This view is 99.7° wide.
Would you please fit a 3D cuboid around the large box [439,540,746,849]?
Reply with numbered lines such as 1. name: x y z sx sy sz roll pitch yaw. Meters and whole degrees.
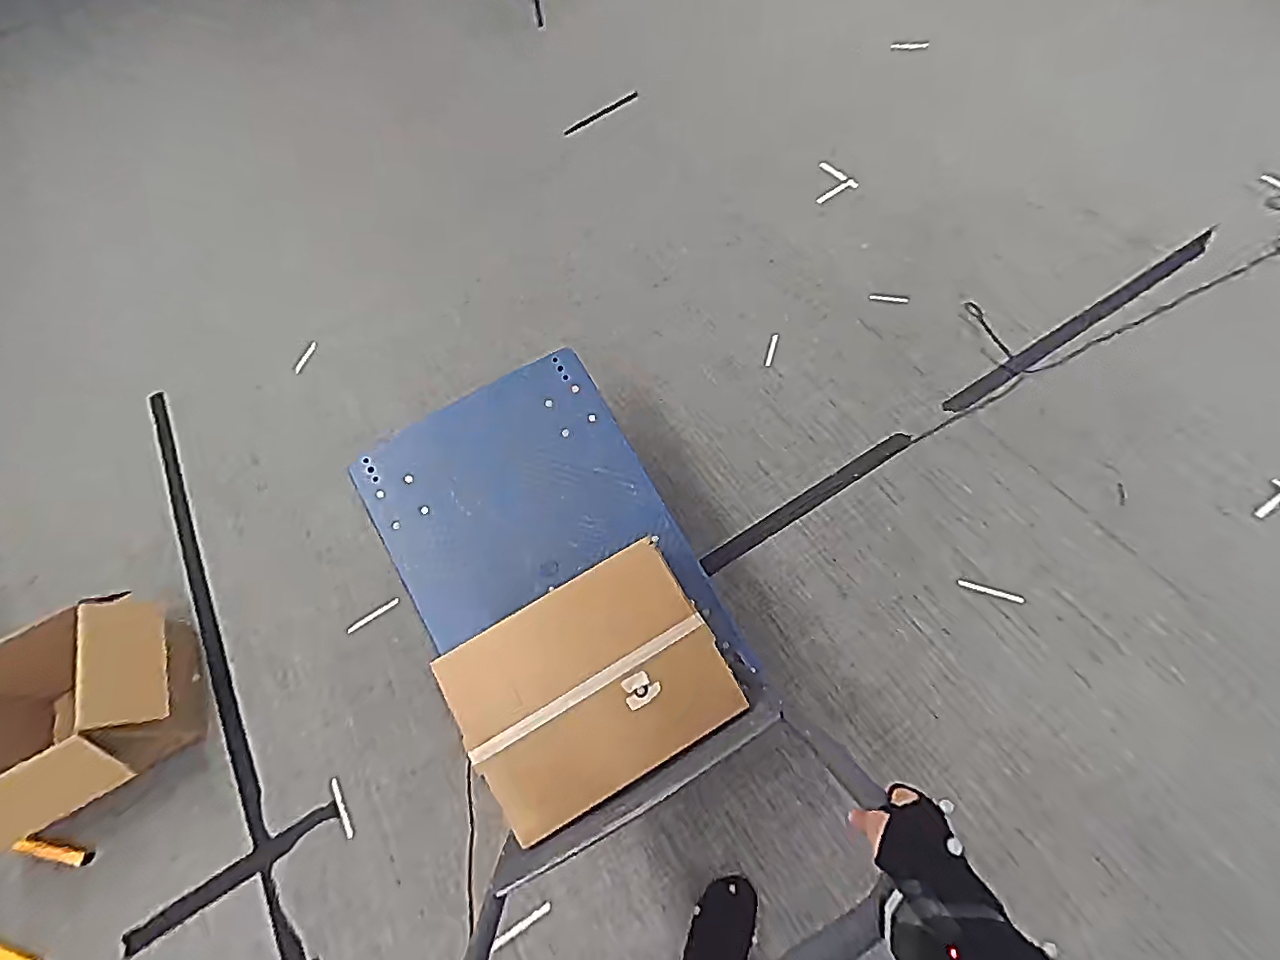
1. large box: -0.080 0.356 0.999 0.408 0.320 0.320 -30 82 -7
